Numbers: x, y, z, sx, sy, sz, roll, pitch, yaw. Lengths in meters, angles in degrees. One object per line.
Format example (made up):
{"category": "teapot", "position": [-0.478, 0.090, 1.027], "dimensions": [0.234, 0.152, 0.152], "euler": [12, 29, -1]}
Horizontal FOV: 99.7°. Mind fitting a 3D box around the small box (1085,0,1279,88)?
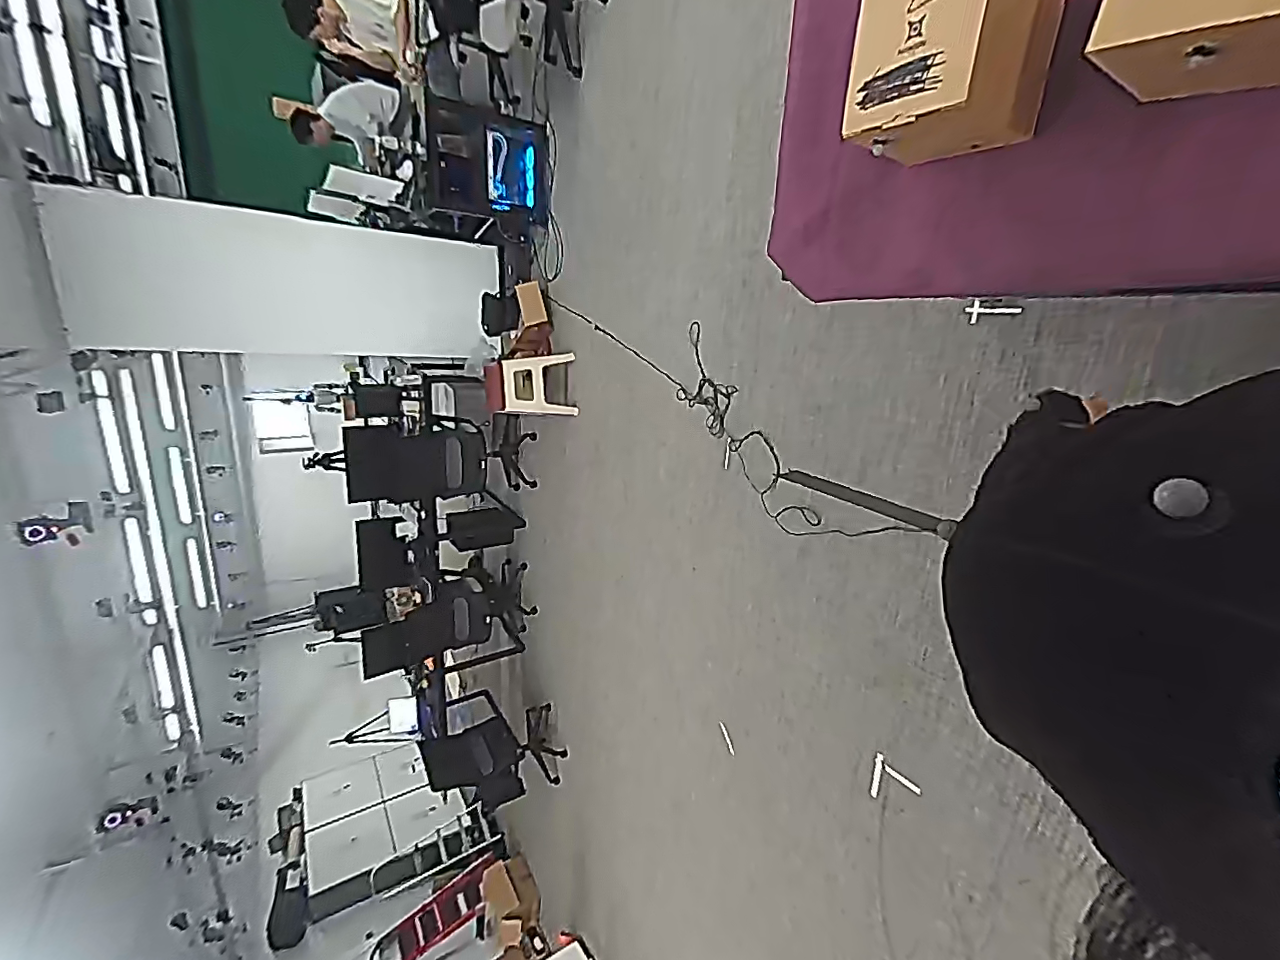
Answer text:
{"category": "small box", "position": [0.534, -0.454, 0.448], "dimensions": [0.179, 0.176, 0.168], "euler": [35, 125, 49]}
